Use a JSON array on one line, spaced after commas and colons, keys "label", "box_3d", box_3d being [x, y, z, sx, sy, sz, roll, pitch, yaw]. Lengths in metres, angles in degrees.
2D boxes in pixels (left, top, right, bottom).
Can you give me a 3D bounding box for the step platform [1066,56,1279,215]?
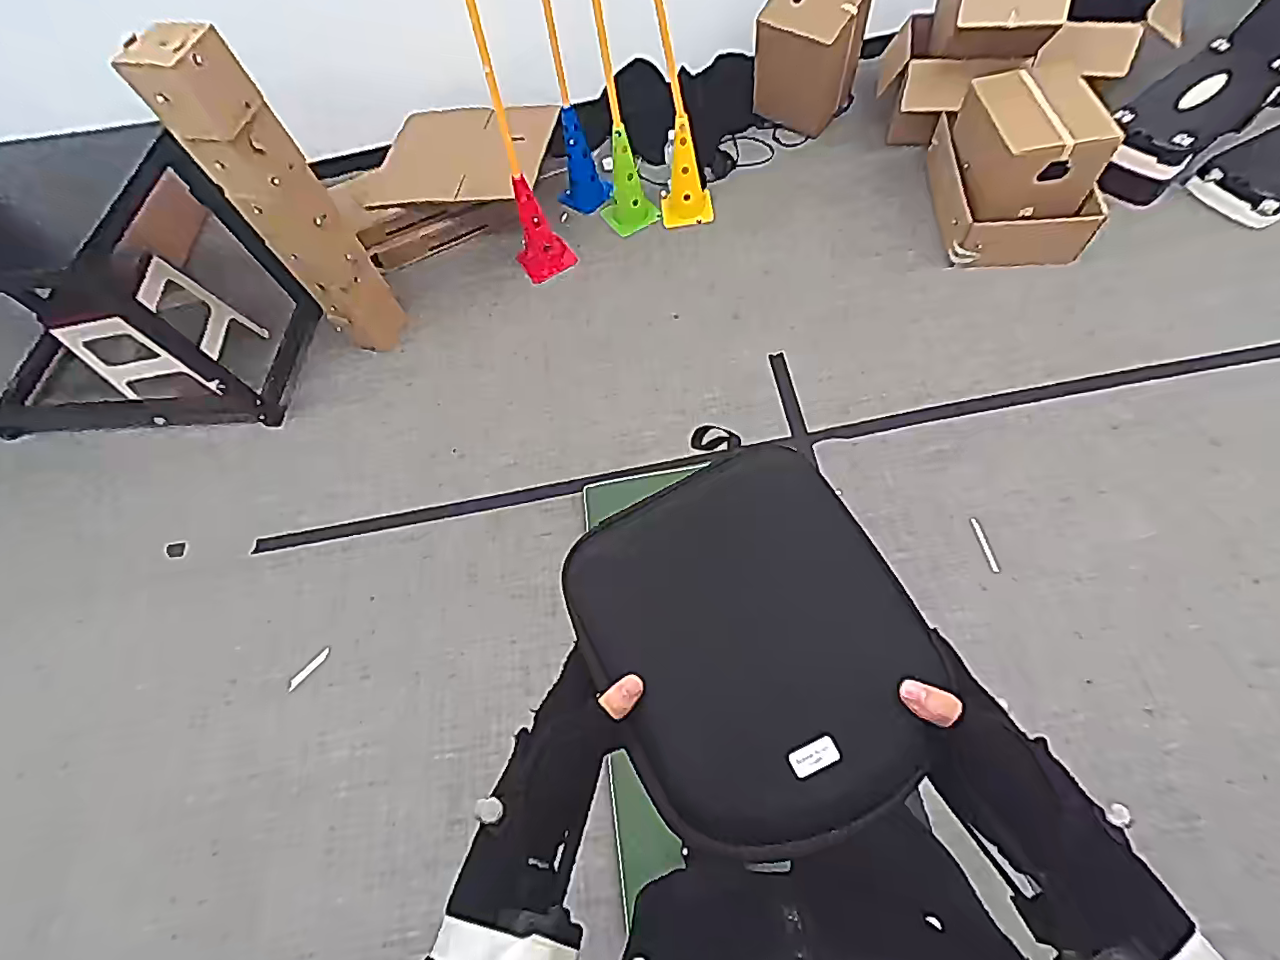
[{"label": "step platform", "box_3d": [1.903, -1.242, 1.938, 0.684, 0.204, 0.286, -37, 64, -10]}]
